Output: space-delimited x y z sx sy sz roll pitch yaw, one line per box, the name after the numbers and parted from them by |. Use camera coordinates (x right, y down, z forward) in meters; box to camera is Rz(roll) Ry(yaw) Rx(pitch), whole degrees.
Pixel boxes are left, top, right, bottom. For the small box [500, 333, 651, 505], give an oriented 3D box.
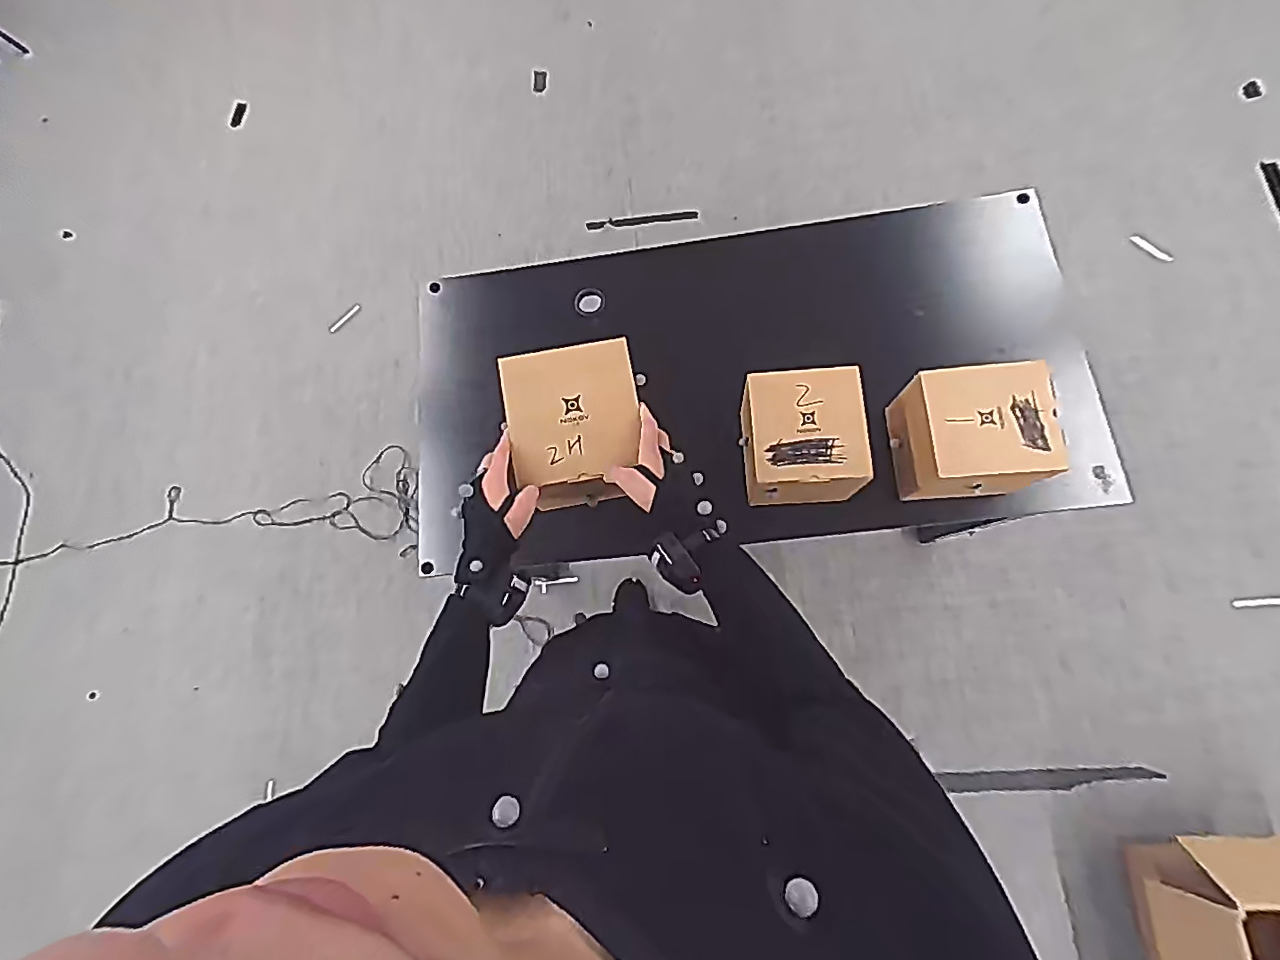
-0.082 -0.074 0.737 0.168 0.176 0.179 -11 80 -2 | small box

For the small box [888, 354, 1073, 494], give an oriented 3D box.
0.508 -0.077 0.834 0.179 0.176 0.168 -5 76 7 | small box
